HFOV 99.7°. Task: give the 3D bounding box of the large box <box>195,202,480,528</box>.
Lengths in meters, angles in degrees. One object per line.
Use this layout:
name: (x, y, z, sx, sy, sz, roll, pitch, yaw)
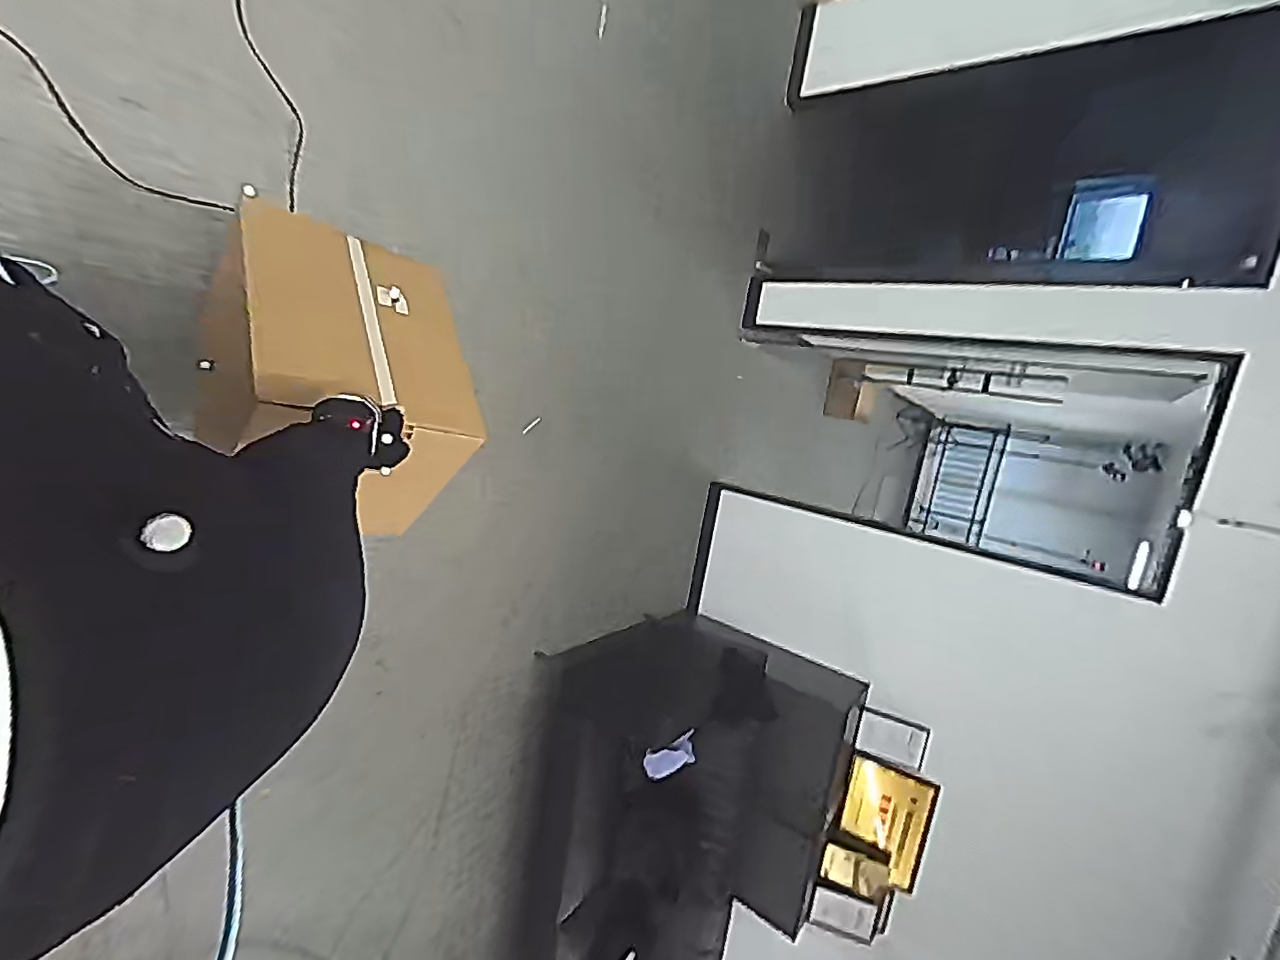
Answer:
large box: (-0.529, -0.163, 0.922, 0.320, 0.408, 0.320, -41, 150, 30)
